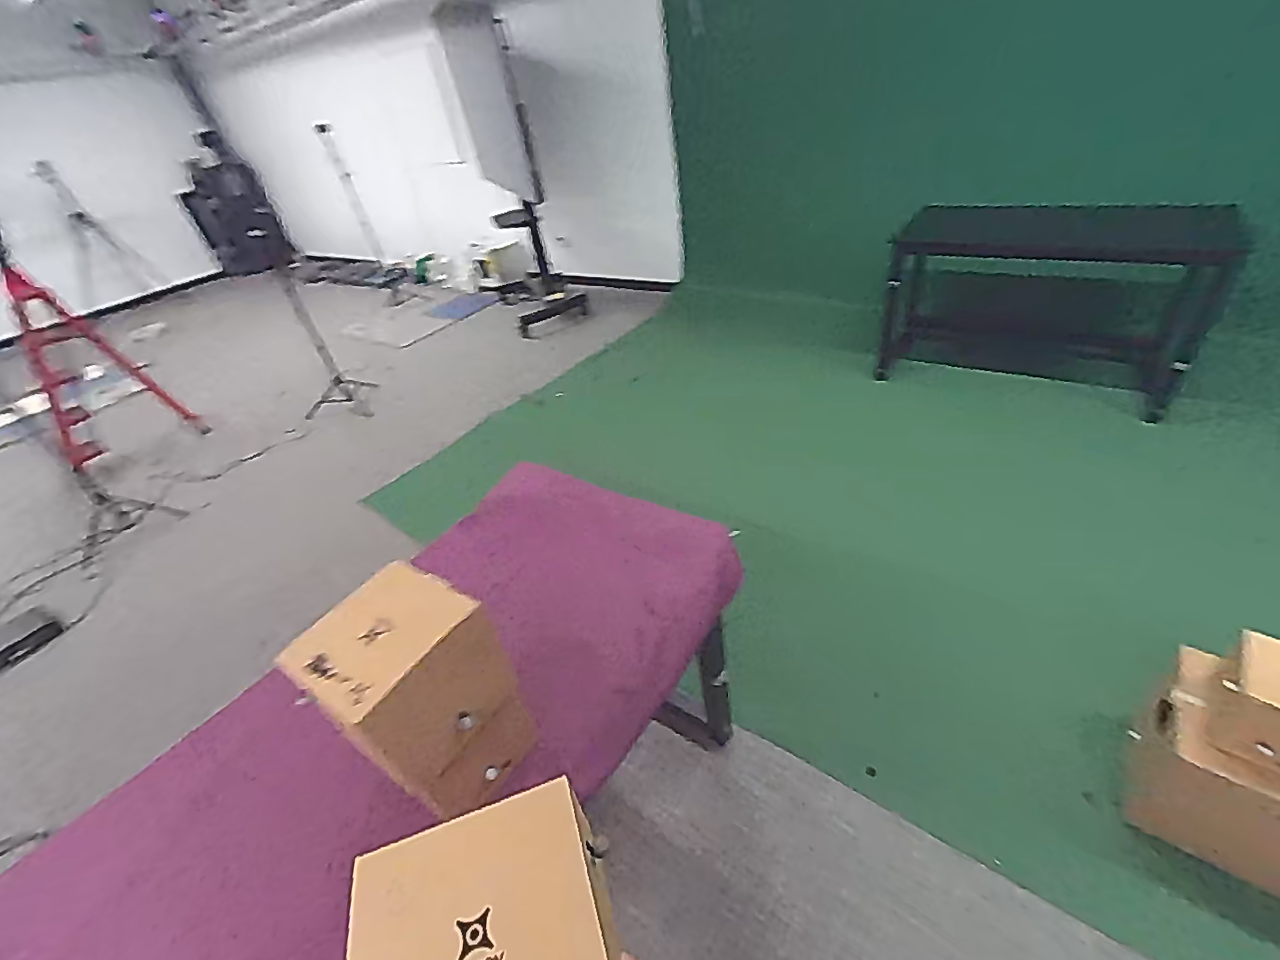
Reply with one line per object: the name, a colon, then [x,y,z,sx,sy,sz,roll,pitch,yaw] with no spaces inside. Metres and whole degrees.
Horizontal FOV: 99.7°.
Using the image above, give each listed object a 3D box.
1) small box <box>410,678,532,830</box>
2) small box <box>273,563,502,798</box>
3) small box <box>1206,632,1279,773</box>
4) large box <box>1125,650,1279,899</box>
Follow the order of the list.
small box: [-0.286,0.360,0.784,0.179,0.176,0.168,19,45,34]
small box: [-0.292,0.241,0.668,0.168,0.176,0.179,16,43,31]
small box: [1.222,0.432,1.021,0.168,0.176,0.179,21,47,35]
large box: [1.327,0.640,1.128,0.408,0.320,0.320,20,46,33]
